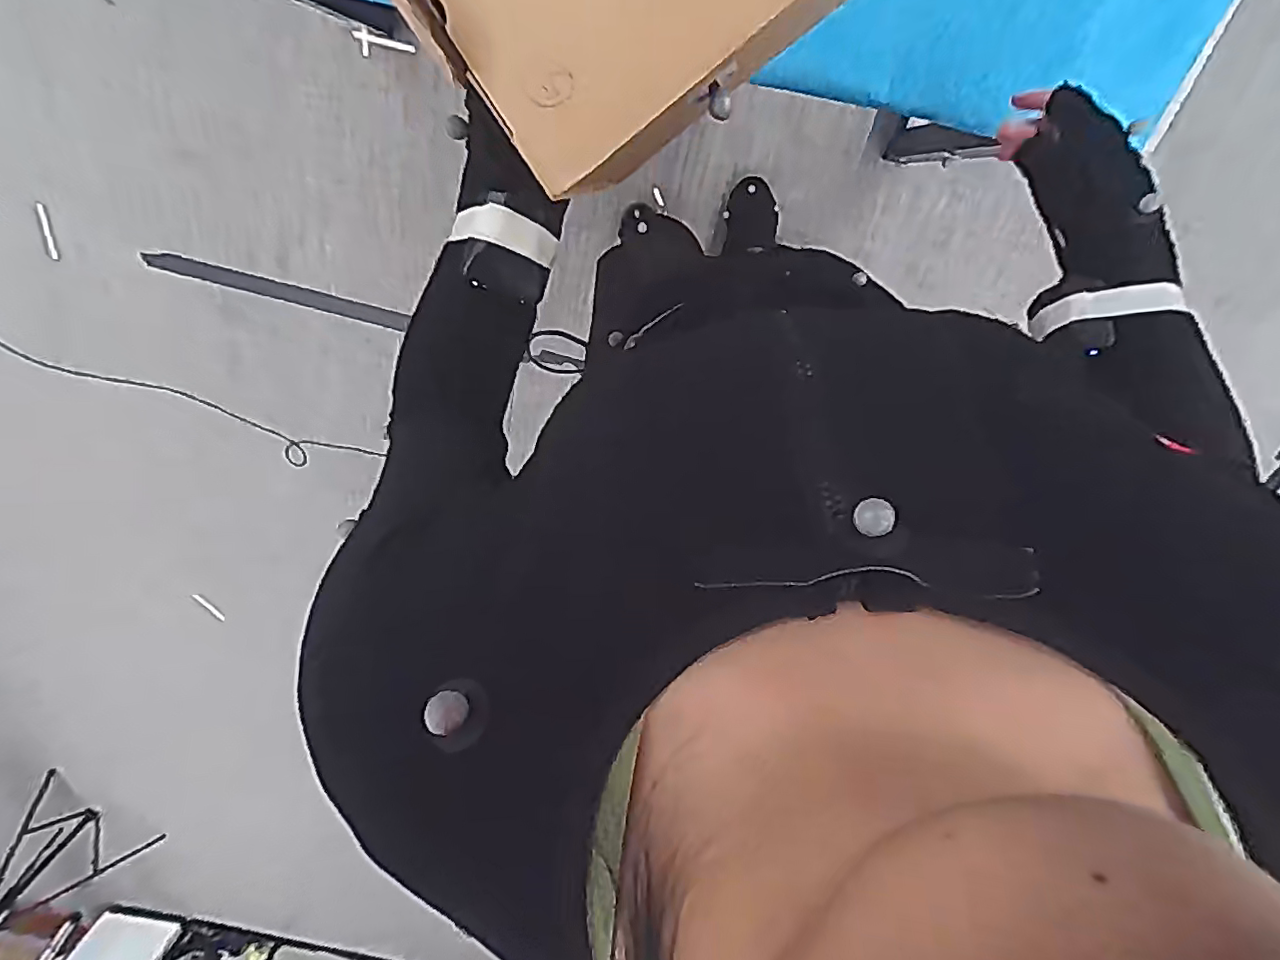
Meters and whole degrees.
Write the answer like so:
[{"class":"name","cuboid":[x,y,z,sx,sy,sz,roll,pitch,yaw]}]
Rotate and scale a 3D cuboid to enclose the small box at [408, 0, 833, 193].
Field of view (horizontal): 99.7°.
[{"class":"small box","cuboid":[-0.006,-0.266,0.253,0.179,0.176,0.168,-26,114,24]}]
